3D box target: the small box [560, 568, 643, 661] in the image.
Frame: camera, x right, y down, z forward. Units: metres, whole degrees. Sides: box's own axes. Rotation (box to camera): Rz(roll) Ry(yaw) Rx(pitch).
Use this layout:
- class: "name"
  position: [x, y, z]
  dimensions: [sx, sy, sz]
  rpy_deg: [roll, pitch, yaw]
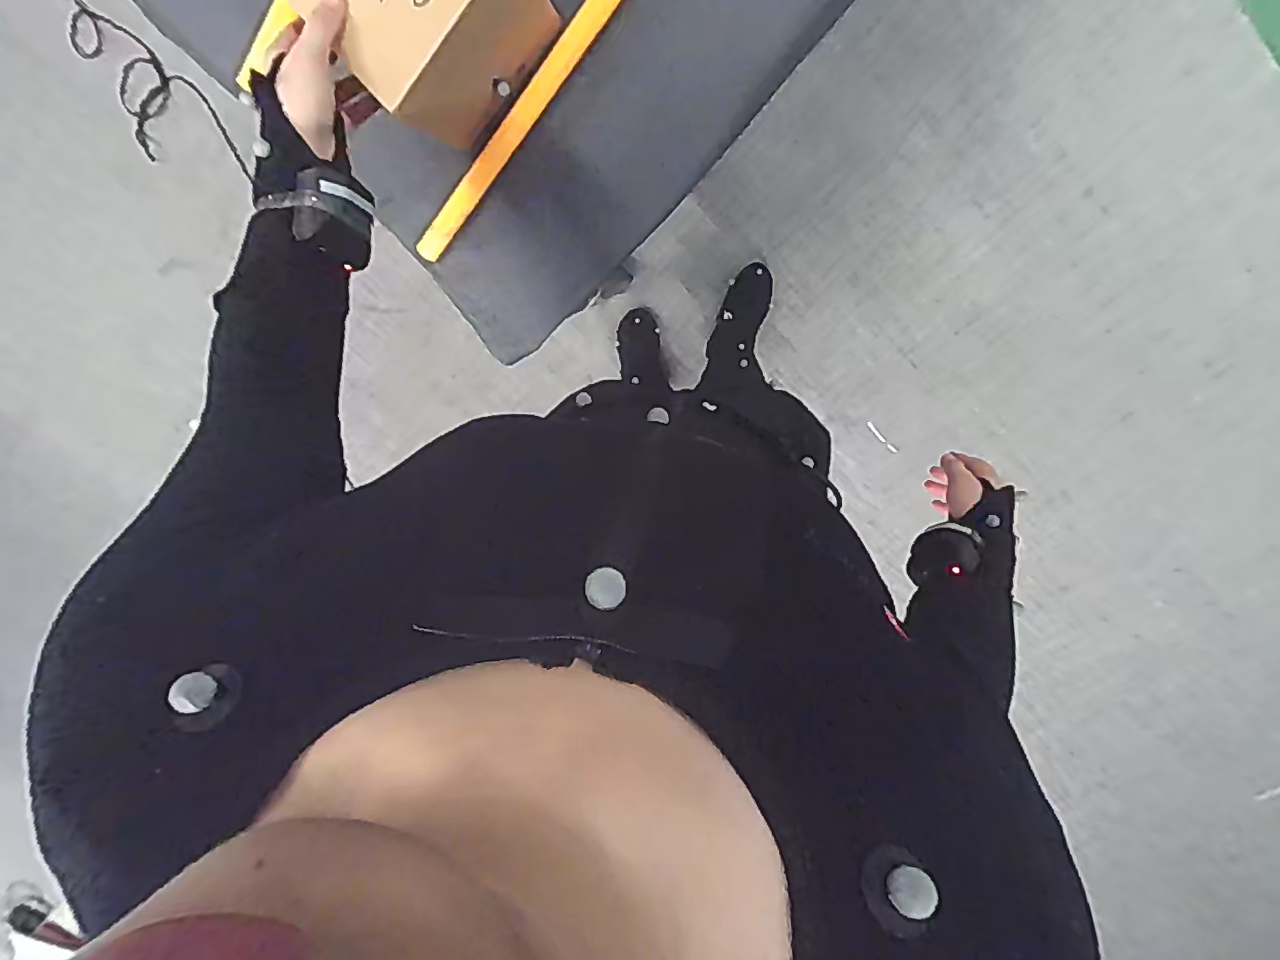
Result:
- class: "small box"
  position: [-0.107, 0.400, 1.626]
  dimensions: [0.168, 0.176, 0.179]
  rpy_deg: [-38, 103, 19]

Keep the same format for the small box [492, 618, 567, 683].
- class: "small box"
  position: [-0.350, 0.578, 1.727]
  dimensions: [0.168, 0.176, 0.179]
  rpy_deg: [39, 112, -10]
